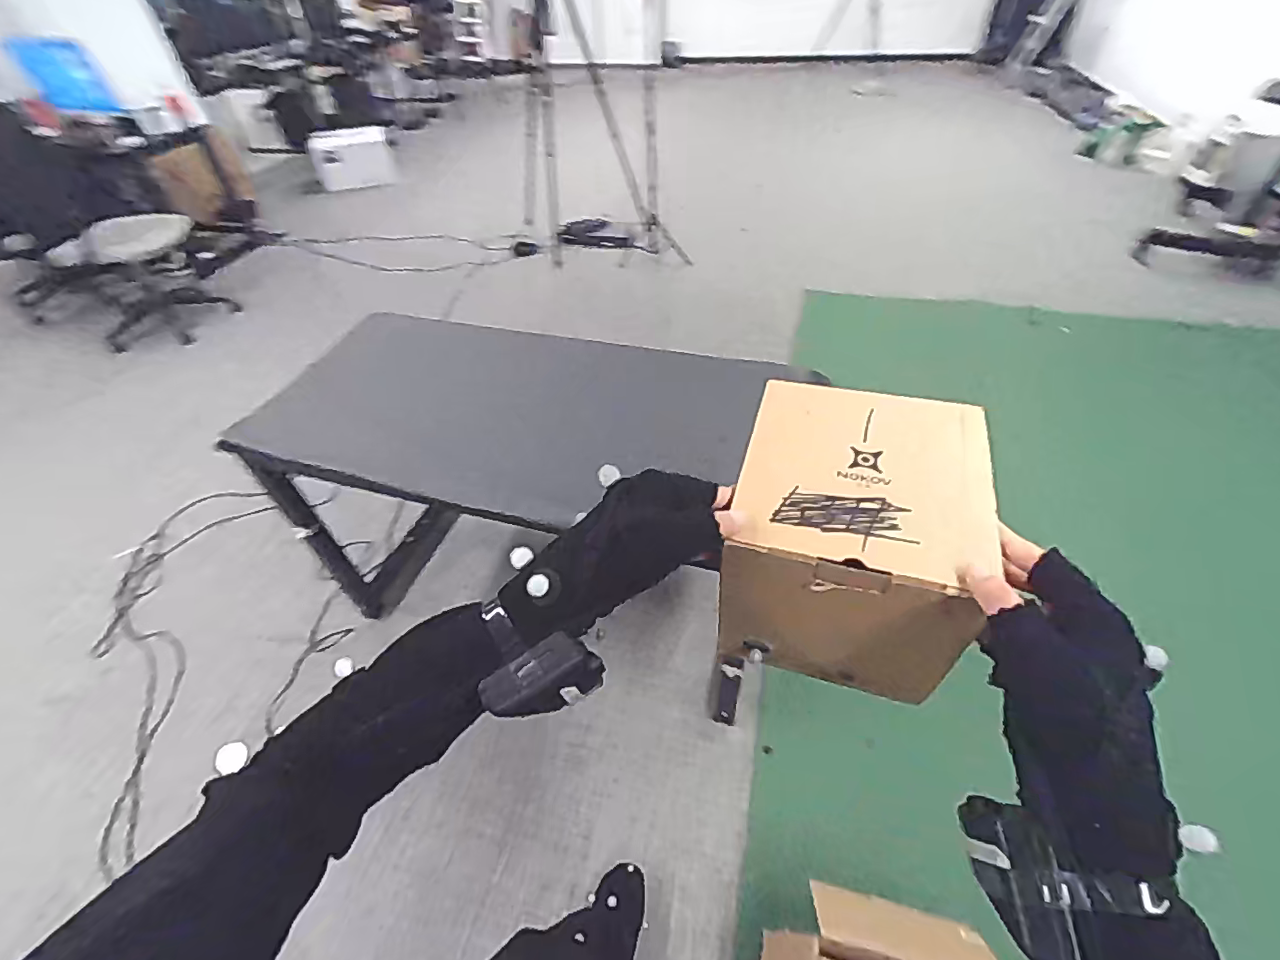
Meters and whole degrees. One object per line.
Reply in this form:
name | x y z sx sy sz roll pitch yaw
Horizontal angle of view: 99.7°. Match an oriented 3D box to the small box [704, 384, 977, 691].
small box | 0.154 0.047 0.446 0.168 0.176 0.179 10 49 15
